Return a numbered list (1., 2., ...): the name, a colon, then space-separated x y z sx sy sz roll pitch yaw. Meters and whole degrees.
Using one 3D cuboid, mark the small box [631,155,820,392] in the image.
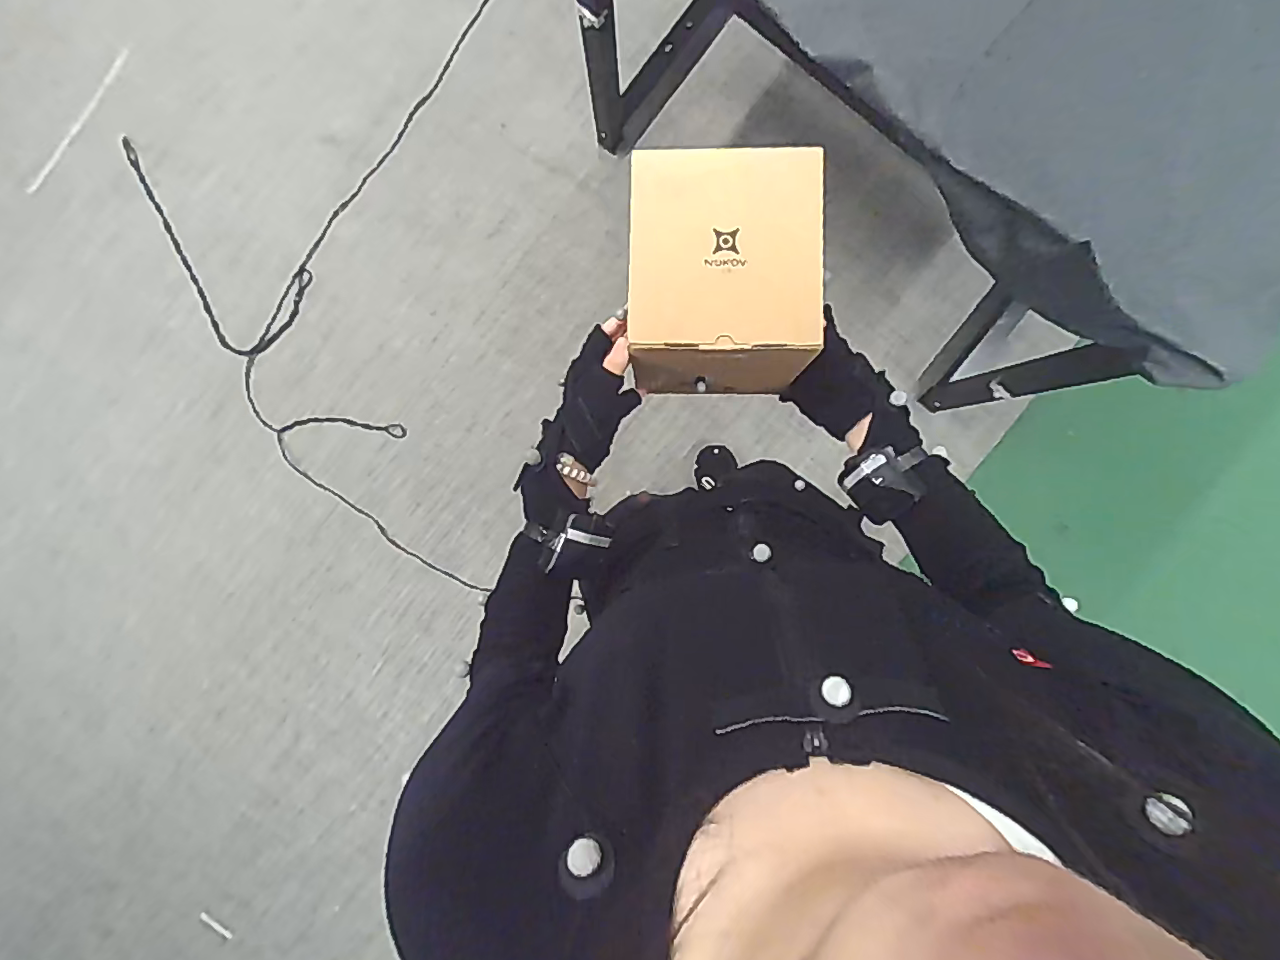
1. small box: 0.078 -0.196 0.553 0.168 0.176 0.179 1 87 3
